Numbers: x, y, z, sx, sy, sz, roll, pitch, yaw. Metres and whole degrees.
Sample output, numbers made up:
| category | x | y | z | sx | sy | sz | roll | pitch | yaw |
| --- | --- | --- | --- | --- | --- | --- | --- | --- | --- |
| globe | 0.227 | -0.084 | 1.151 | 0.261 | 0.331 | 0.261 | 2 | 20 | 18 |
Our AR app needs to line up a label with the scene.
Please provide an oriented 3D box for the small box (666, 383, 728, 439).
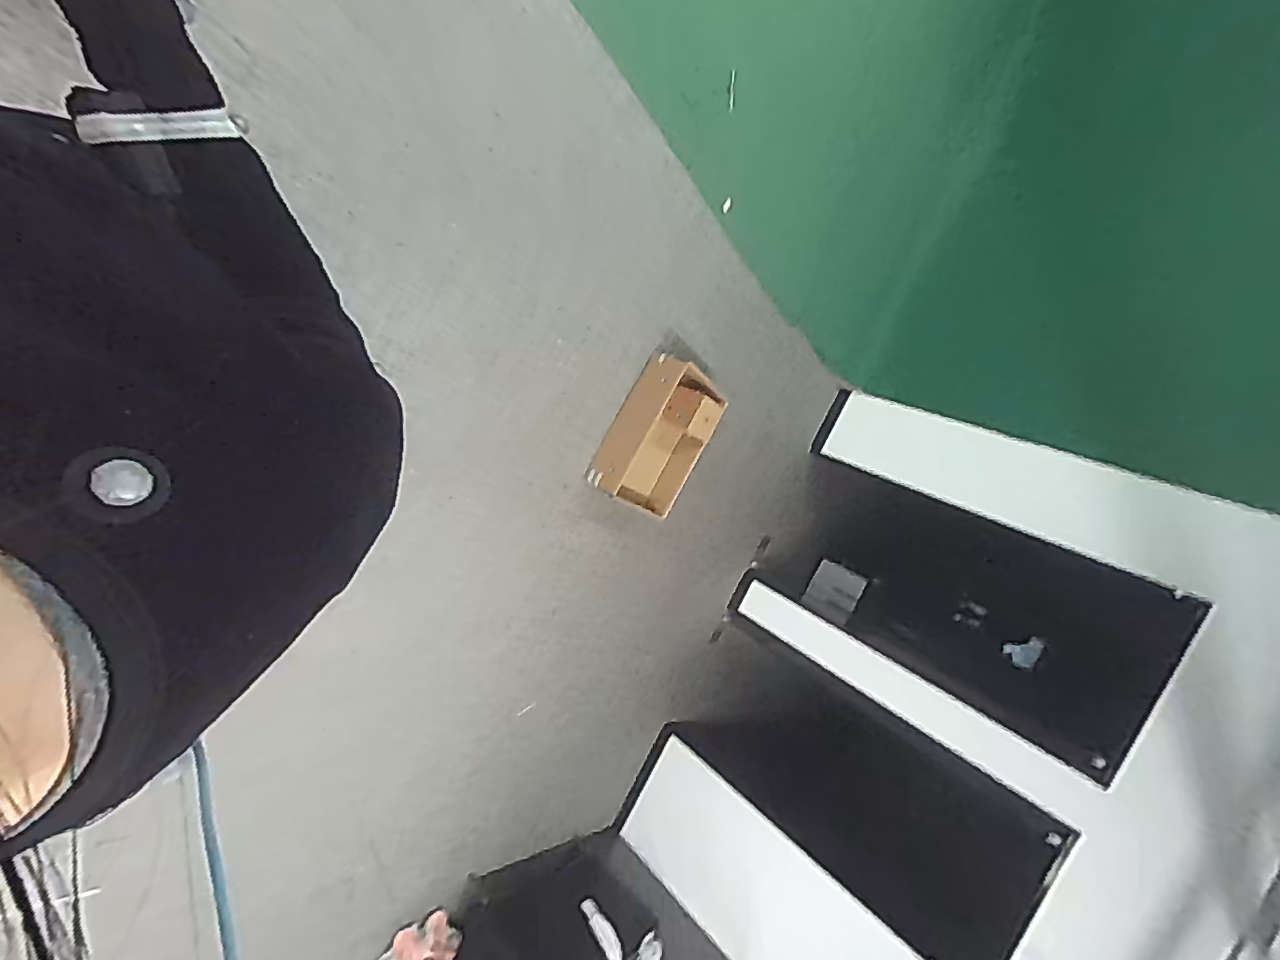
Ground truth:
| category | x | y | z | sx | sy | sz | roll | pitch | yaw |
| --- | --- | --- | --- | --- | --- | --- | --- | --- | --- |
| small box | 0.240 | -0.300 | 2.322 | 0.179 | 0.176 | 0.168 | 23 | 96 | -51 |
